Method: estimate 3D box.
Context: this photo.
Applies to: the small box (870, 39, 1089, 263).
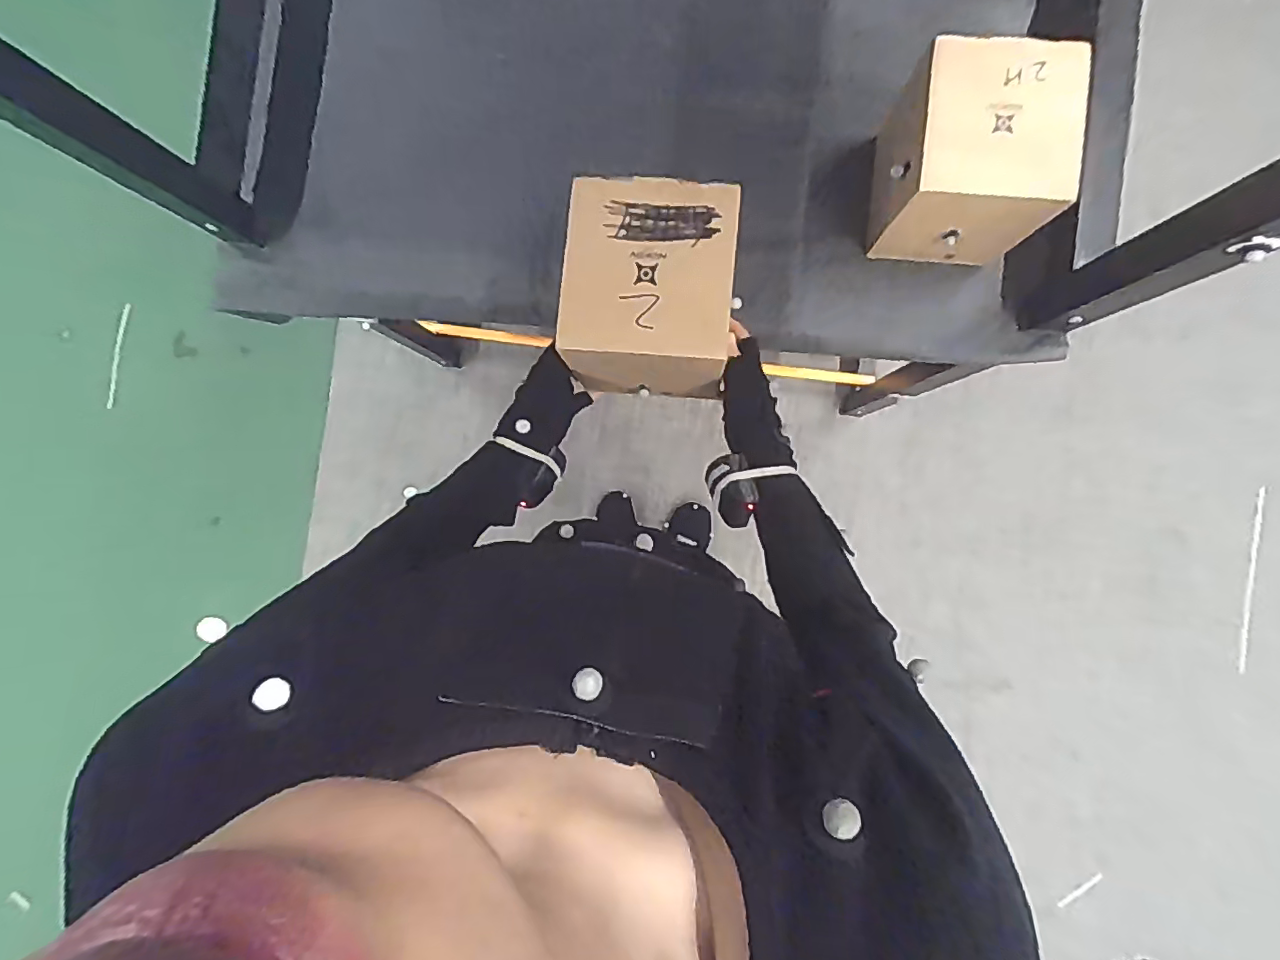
[{"bbox_3d":[0.399,-0.387,0.665,0.168,0.176,0.179,6,88,3],"label":"small box"}]
